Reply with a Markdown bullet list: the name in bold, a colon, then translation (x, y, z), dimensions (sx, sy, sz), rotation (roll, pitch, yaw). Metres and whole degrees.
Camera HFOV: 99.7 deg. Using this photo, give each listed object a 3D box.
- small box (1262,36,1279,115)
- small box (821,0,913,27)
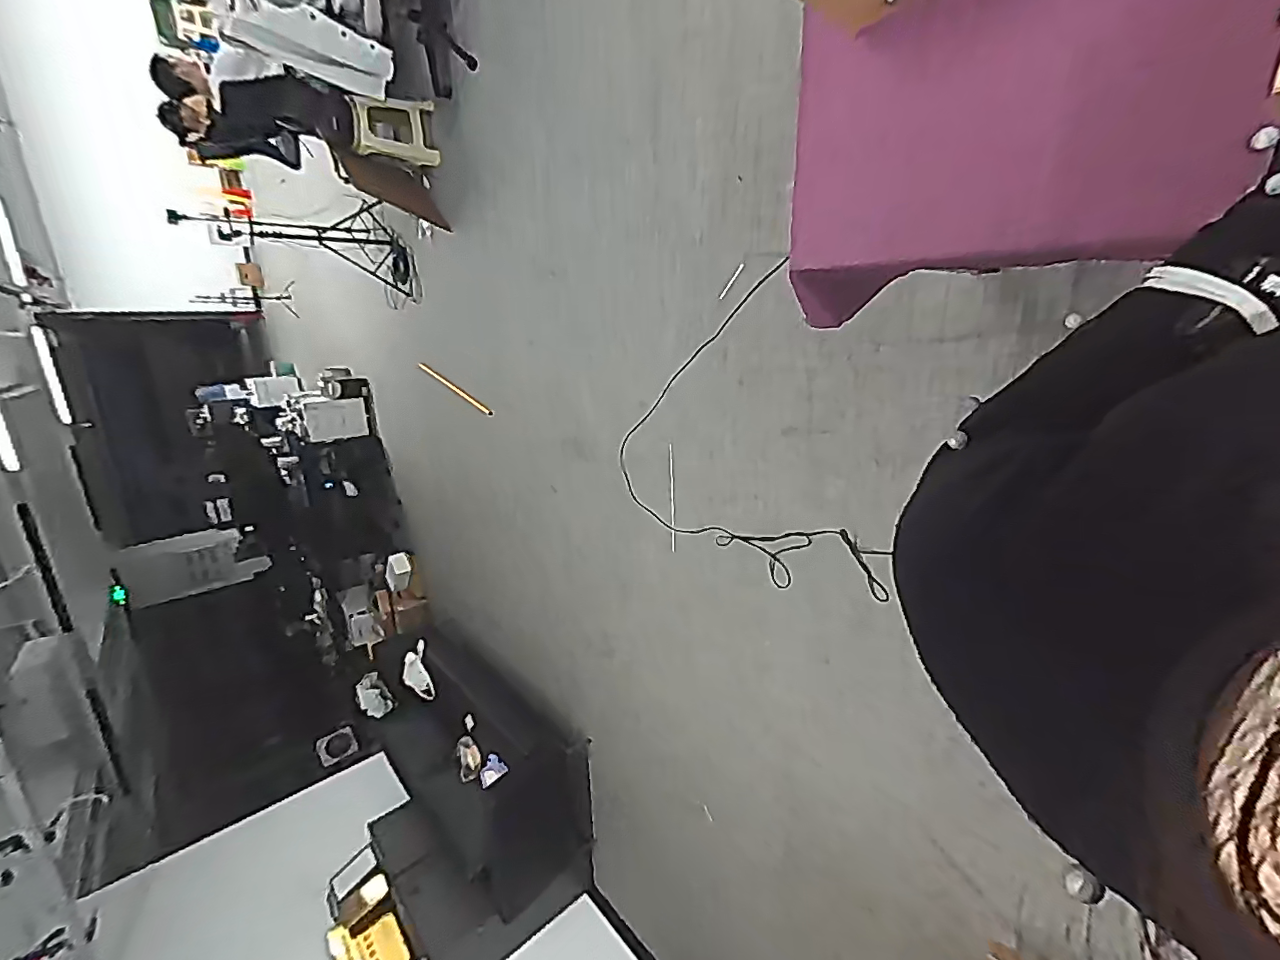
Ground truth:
- **small box**: translation (0.571, -0.360, 0.358), dimensions (0.168, 0.176, 0.179), rotation (21, 118, 45)
- **small box**: translation (0.278, -0.674, 0.613), dimensions (0.168, 0.176, 0.179), rotation (10, 110, 49)
